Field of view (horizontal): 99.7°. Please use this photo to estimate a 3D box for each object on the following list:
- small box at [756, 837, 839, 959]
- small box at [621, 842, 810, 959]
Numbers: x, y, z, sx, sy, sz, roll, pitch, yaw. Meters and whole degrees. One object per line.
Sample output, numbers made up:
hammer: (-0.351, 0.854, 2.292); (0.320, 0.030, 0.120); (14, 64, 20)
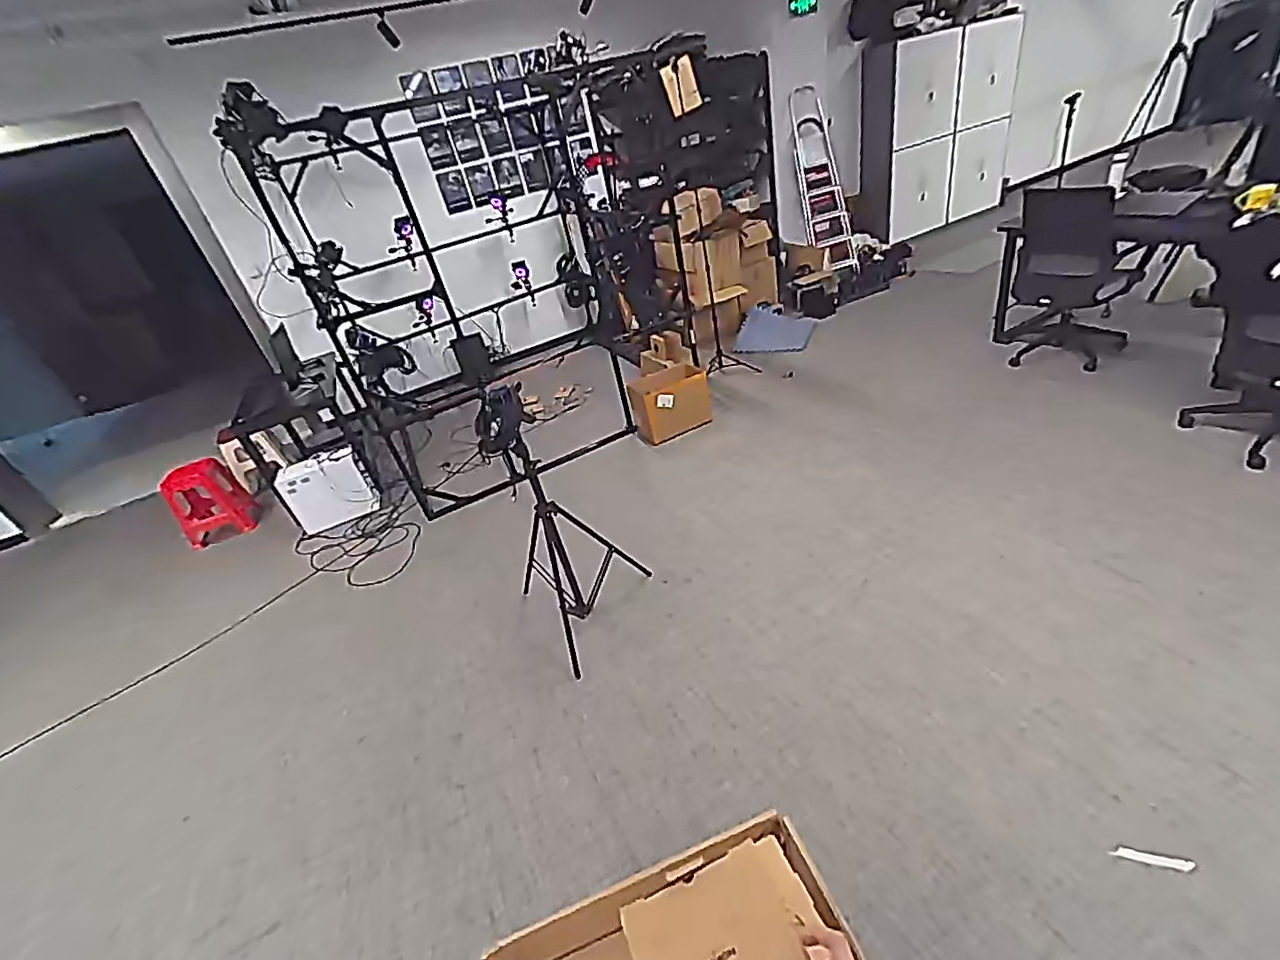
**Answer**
small box: (0.177, 0.684, 0.795); (0.179, 0.176, 0.168); (-22, 32, -11)
small box: (0.094, 0.538, 0.583); (0.168, 0.176, 0.179); (-22, 45, -9)
